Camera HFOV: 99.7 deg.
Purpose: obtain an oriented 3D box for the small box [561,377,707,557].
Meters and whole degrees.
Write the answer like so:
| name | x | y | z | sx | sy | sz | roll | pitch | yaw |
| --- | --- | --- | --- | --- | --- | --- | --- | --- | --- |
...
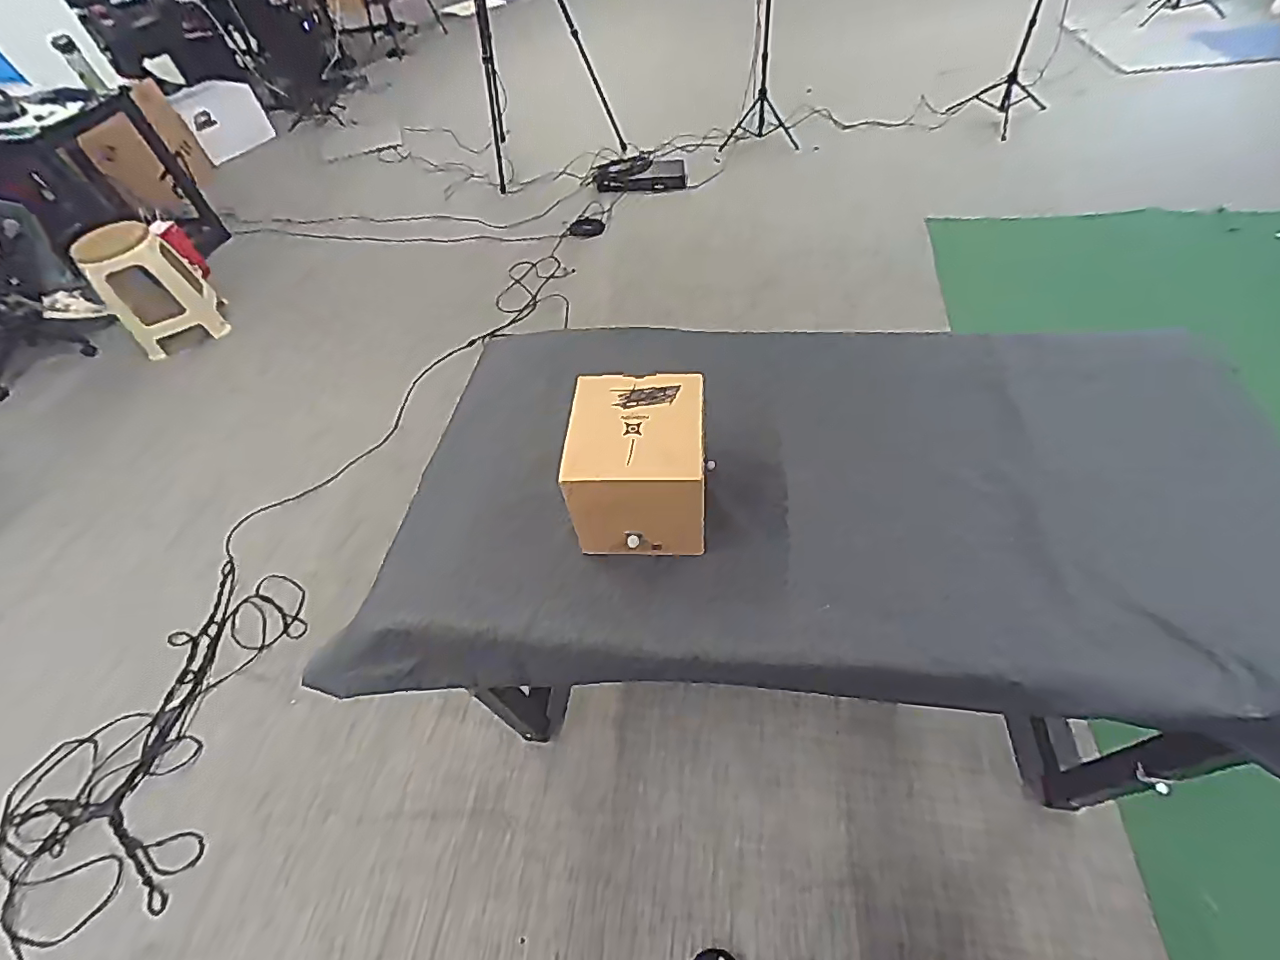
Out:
| name | x | y | z | sx | sy | sz | roll | pitch | yaw |
| --- | --- | --- | --- | --- | --- | --- | --- | --- | --- |
| small box | 0.004 | -0.017 | 0.720 | 0.168 | 0.176 | 0.179 | 0 | 52 | 7 |
